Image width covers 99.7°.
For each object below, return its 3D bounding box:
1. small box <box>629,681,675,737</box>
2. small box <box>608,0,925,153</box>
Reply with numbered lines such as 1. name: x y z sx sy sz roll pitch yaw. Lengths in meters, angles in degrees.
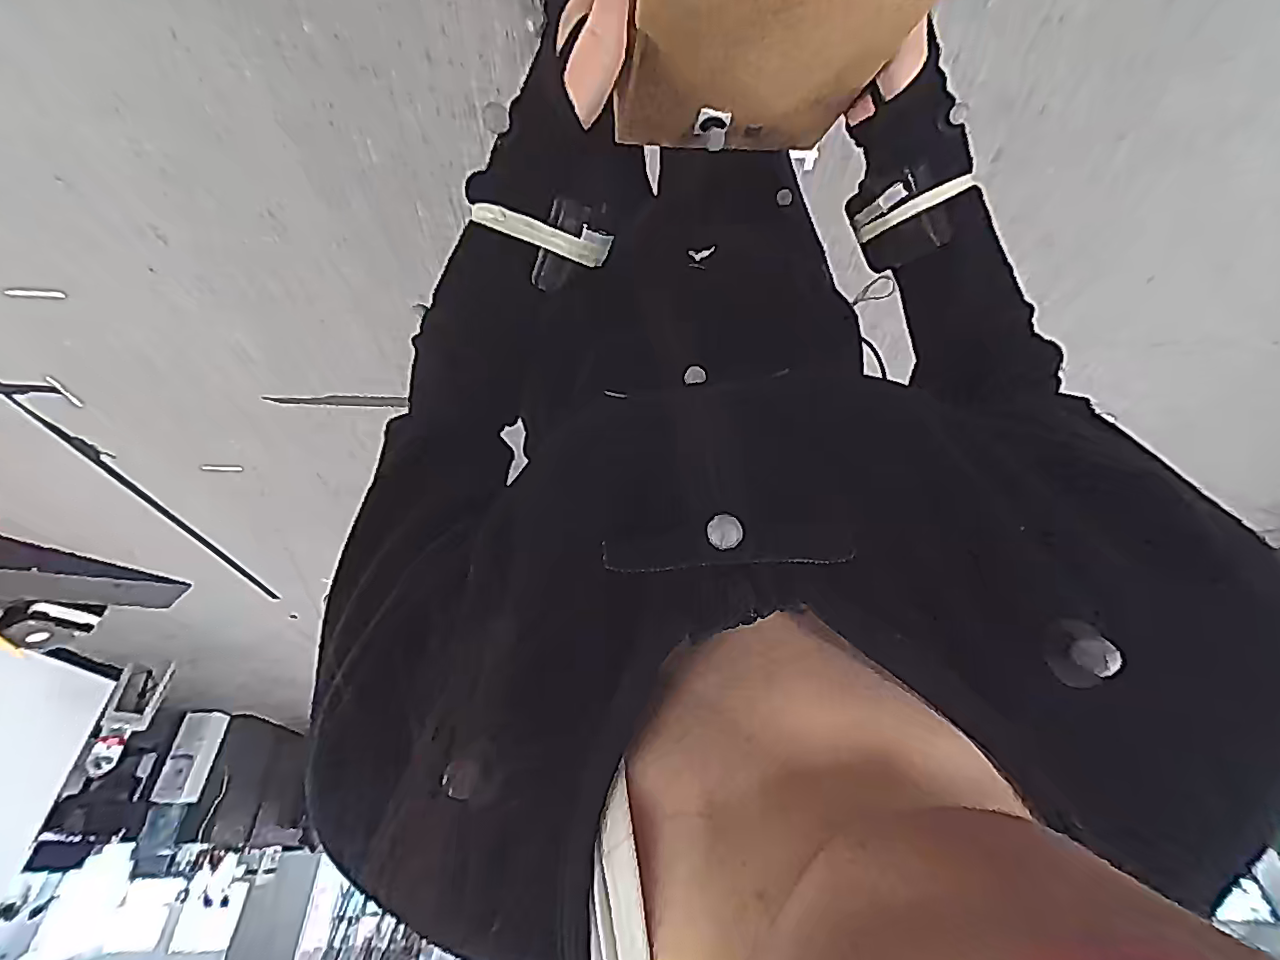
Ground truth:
1. small box: 0.043 0.882 2.075 0.168 0.176 0.179 -1 146 -1
2. small box: 0.066 -0.353 0.357 0.168 0.179 0.176 -3 -175 -7
